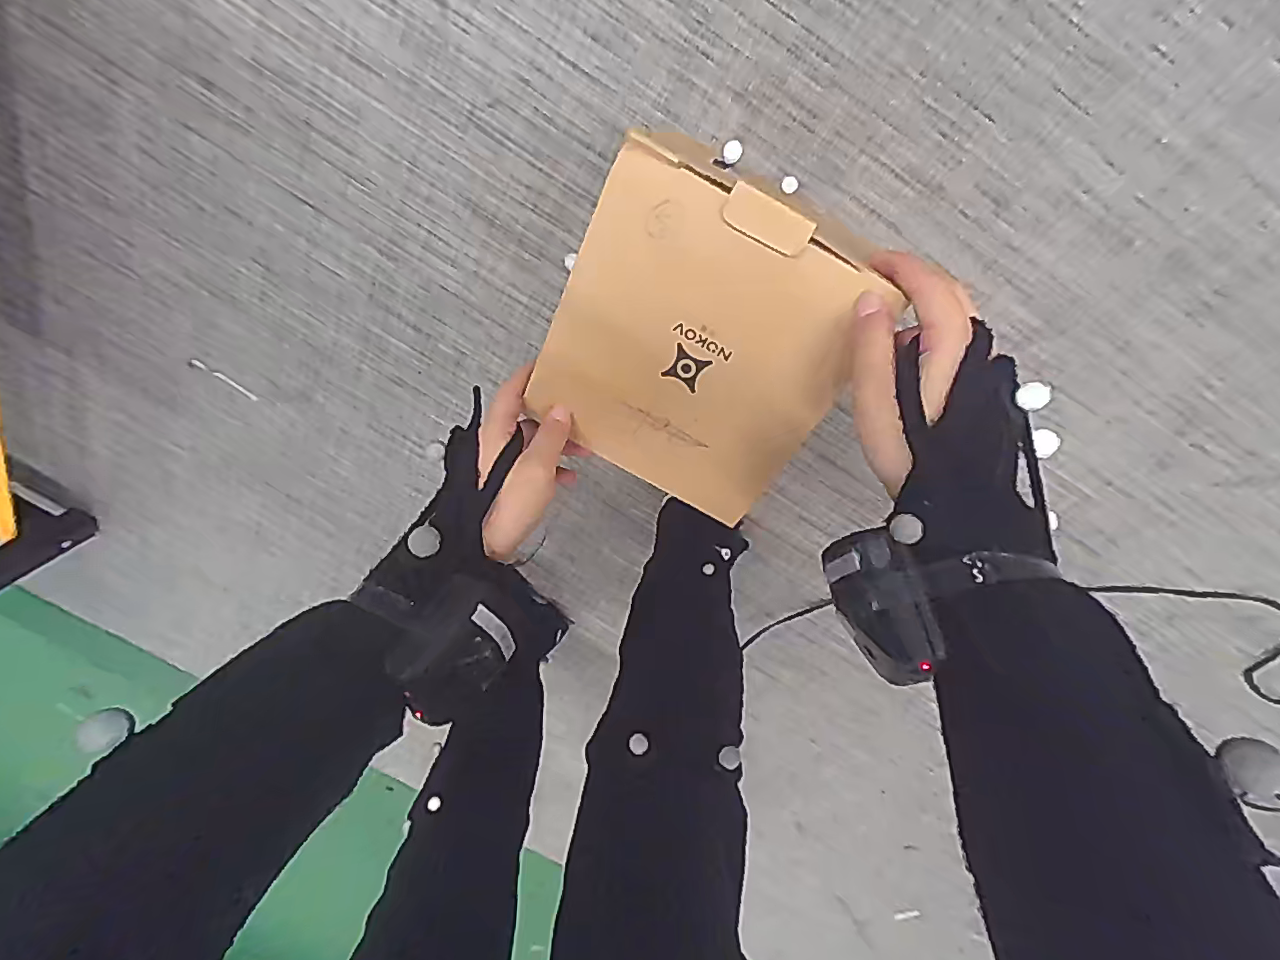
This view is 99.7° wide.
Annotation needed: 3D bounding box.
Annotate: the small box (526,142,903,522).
[{"bbox_3d":[0.047,-0.111,0.385,0.168,0.176,0.179,29,125,-3],"label":"small box"}]
